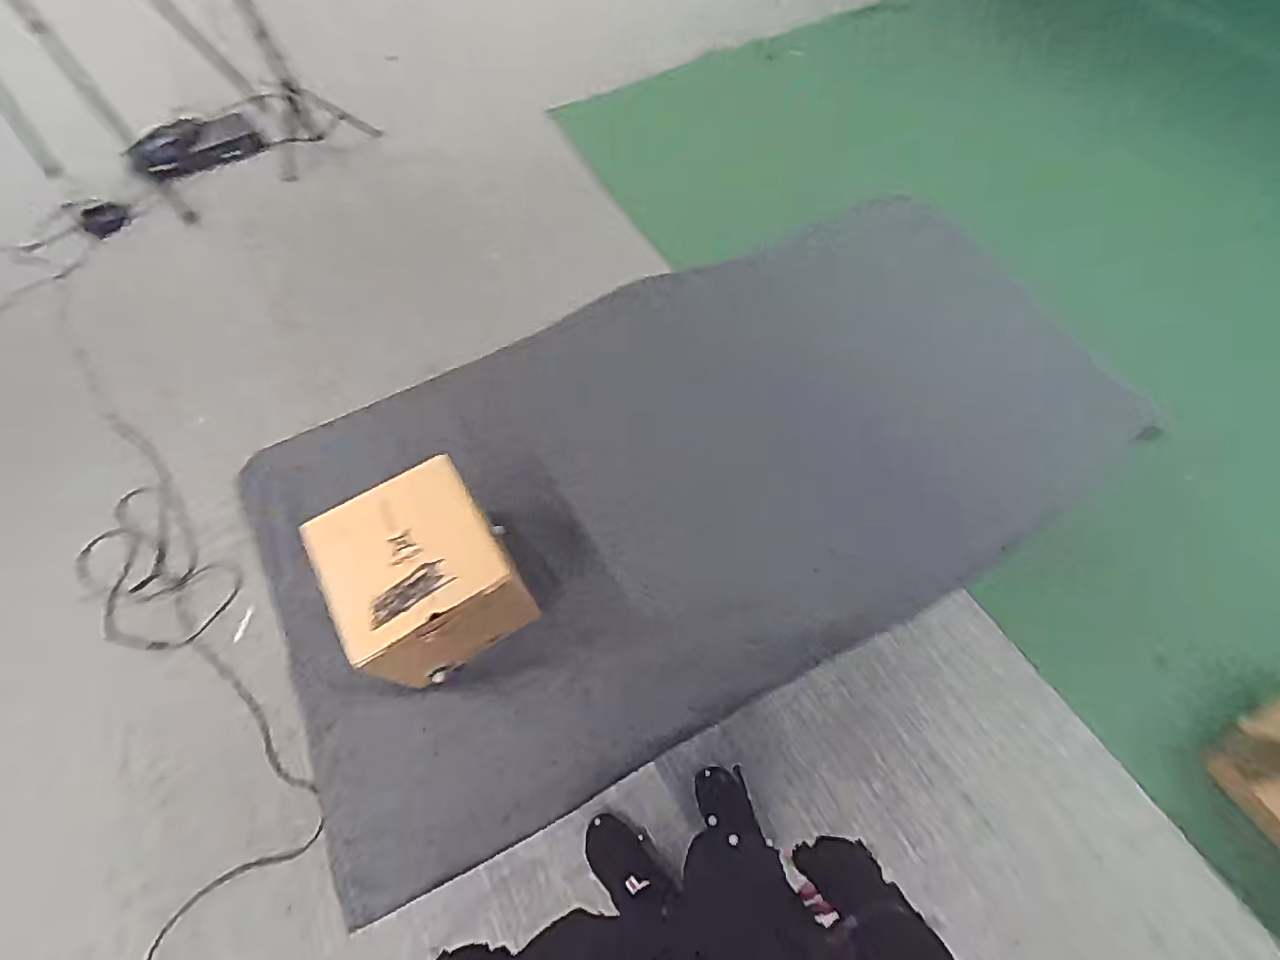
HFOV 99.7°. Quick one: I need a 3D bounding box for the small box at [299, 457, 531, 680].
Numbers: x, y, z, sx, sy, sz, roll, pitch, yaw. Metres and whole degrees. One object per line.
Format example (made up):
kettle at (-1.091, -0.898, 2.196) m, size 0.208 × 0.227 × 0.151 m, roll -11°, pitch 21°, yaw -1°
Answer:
small box at (-0.245, 0.112, 0.625) m, size 0.168 × 0.176 × 0.179 m, roll -30°, pitch 65°, yaw -14°
